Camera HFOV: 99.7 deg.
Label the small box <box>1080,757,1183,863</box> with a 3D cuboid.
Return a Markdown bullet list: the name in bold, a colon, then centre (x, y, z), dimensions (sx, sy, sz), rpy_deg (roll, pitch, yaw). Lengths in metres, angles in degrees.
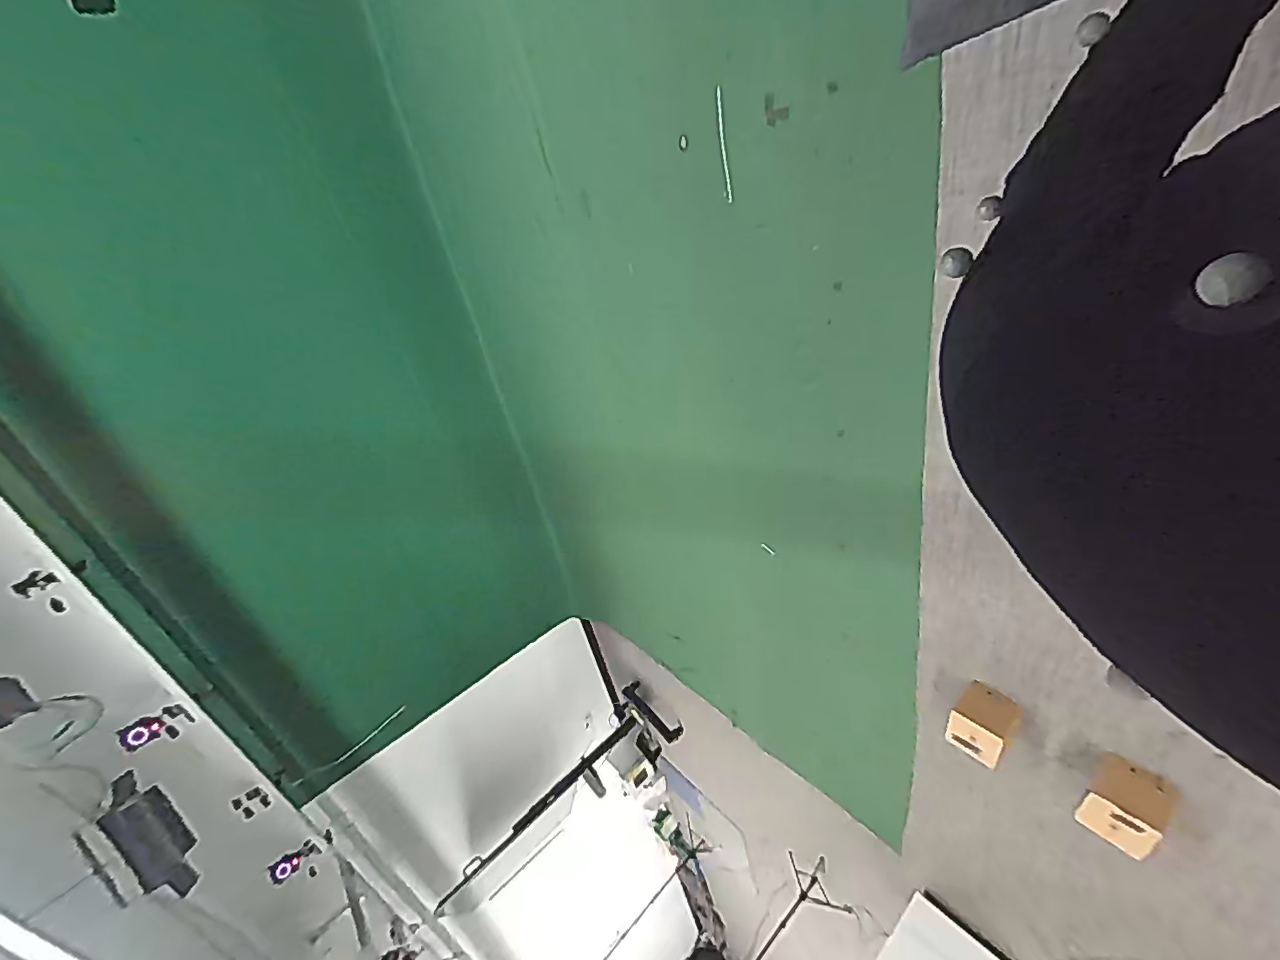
- **small box**: centre (1.452, 0.966, 1.595), dimensions (0.168, 0.176, 0.179), rpy_deg (30, 141, 43)
